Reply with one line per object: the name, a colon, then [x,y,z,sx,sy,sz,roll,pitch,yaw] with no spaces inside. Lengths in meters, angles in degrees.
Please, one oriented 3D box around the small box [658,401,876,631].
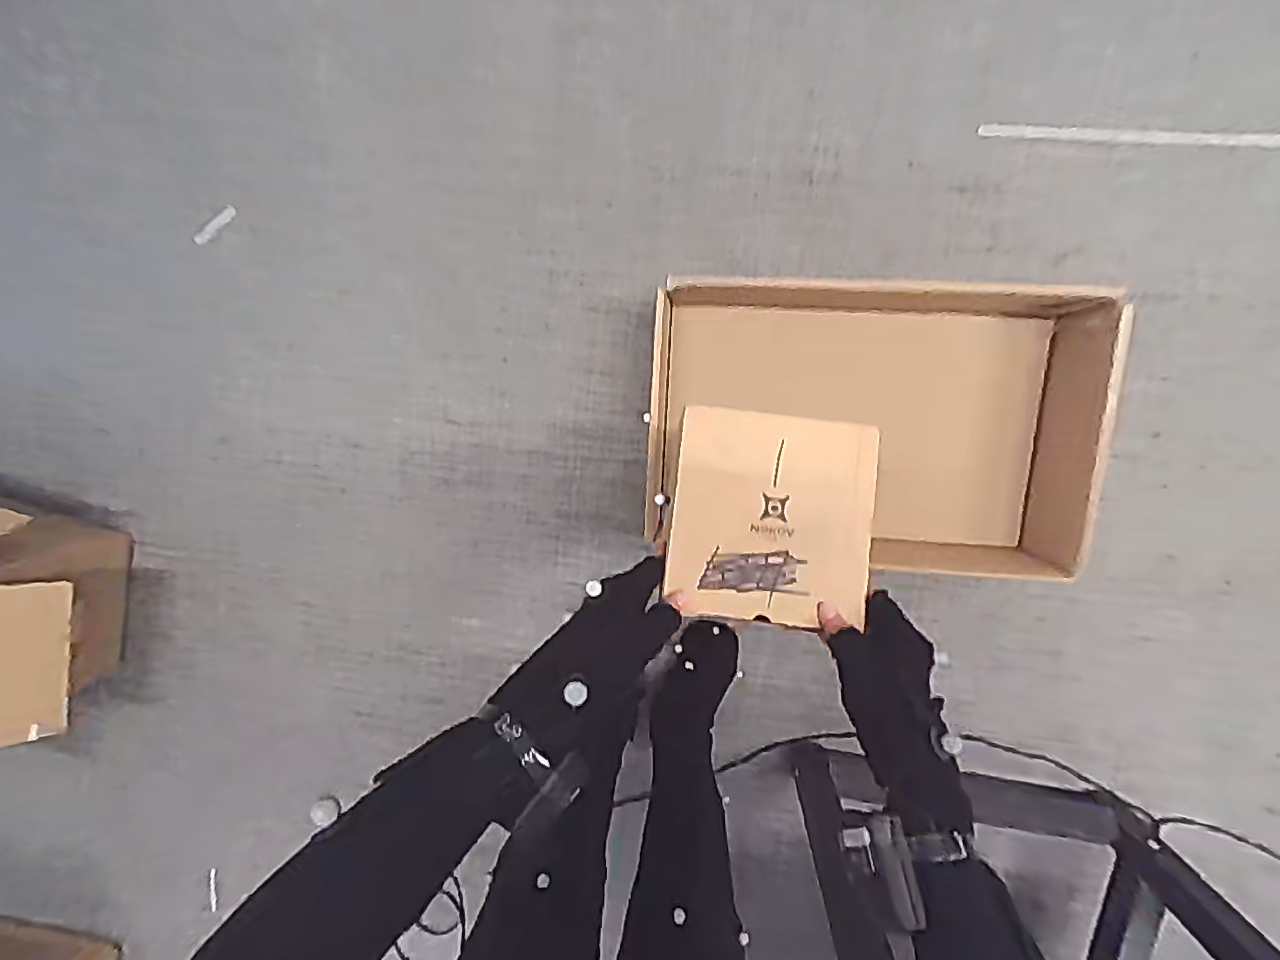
small box: [0.110,0.035,0.530,0.168,0.176,0.179,7,84,2]
